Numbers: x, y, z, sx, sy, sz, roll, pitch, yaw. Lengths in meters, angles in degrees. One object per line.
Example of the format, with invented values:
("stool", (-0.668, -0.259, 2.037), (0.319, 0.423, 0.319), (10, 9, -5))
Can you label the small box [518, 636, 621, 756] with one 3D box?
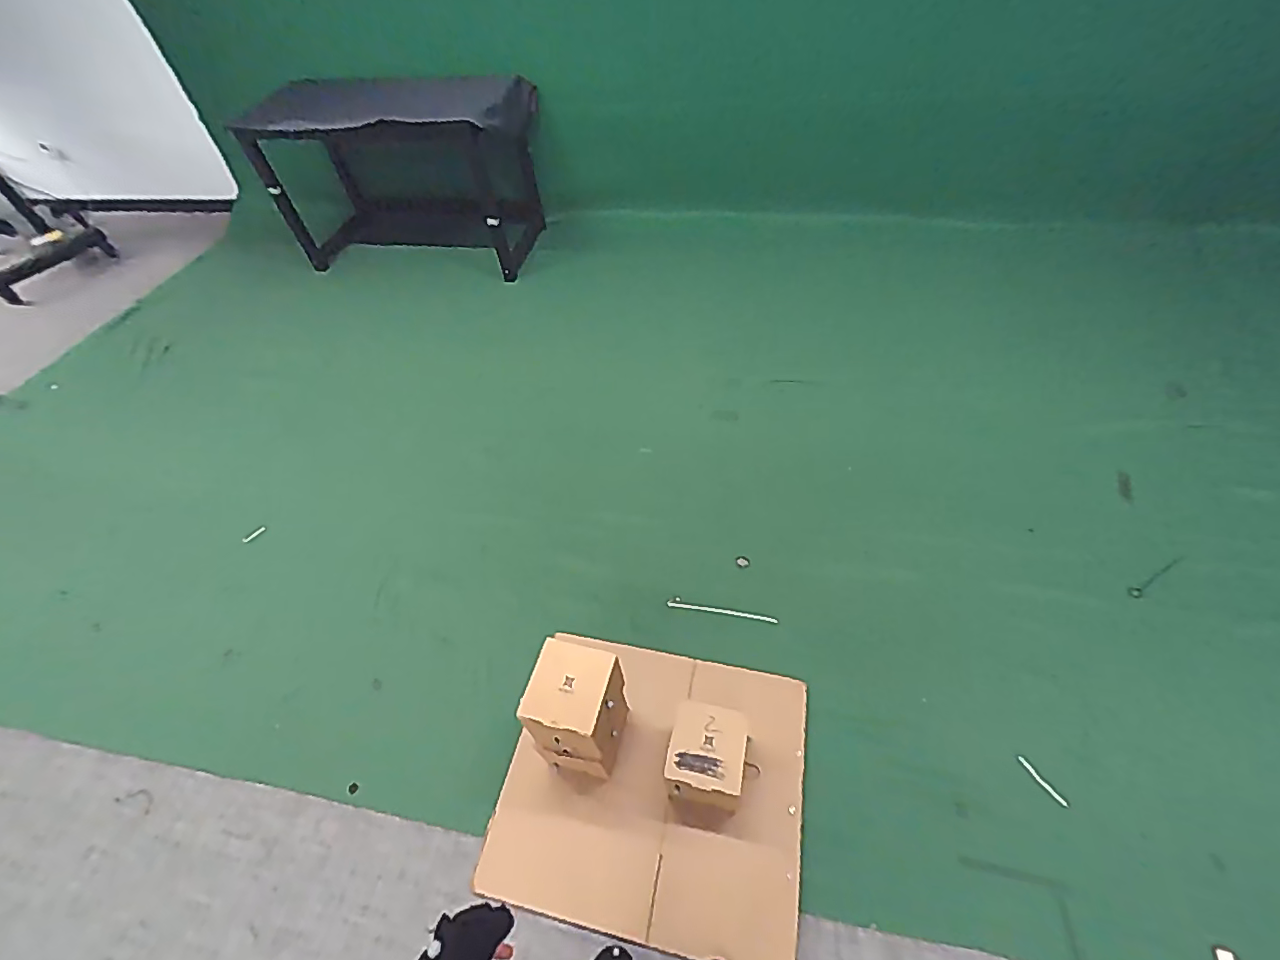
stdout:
("small box", (-0.143, 0.474, 1.184), (0.168, 0.176, 0.179), (10, 52, 13))

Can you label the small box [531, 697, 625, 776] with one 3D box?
("small box", (-0.139, 0.588, 1.301), (0.168, 0.176, 0.179), (8, 50, 13))
